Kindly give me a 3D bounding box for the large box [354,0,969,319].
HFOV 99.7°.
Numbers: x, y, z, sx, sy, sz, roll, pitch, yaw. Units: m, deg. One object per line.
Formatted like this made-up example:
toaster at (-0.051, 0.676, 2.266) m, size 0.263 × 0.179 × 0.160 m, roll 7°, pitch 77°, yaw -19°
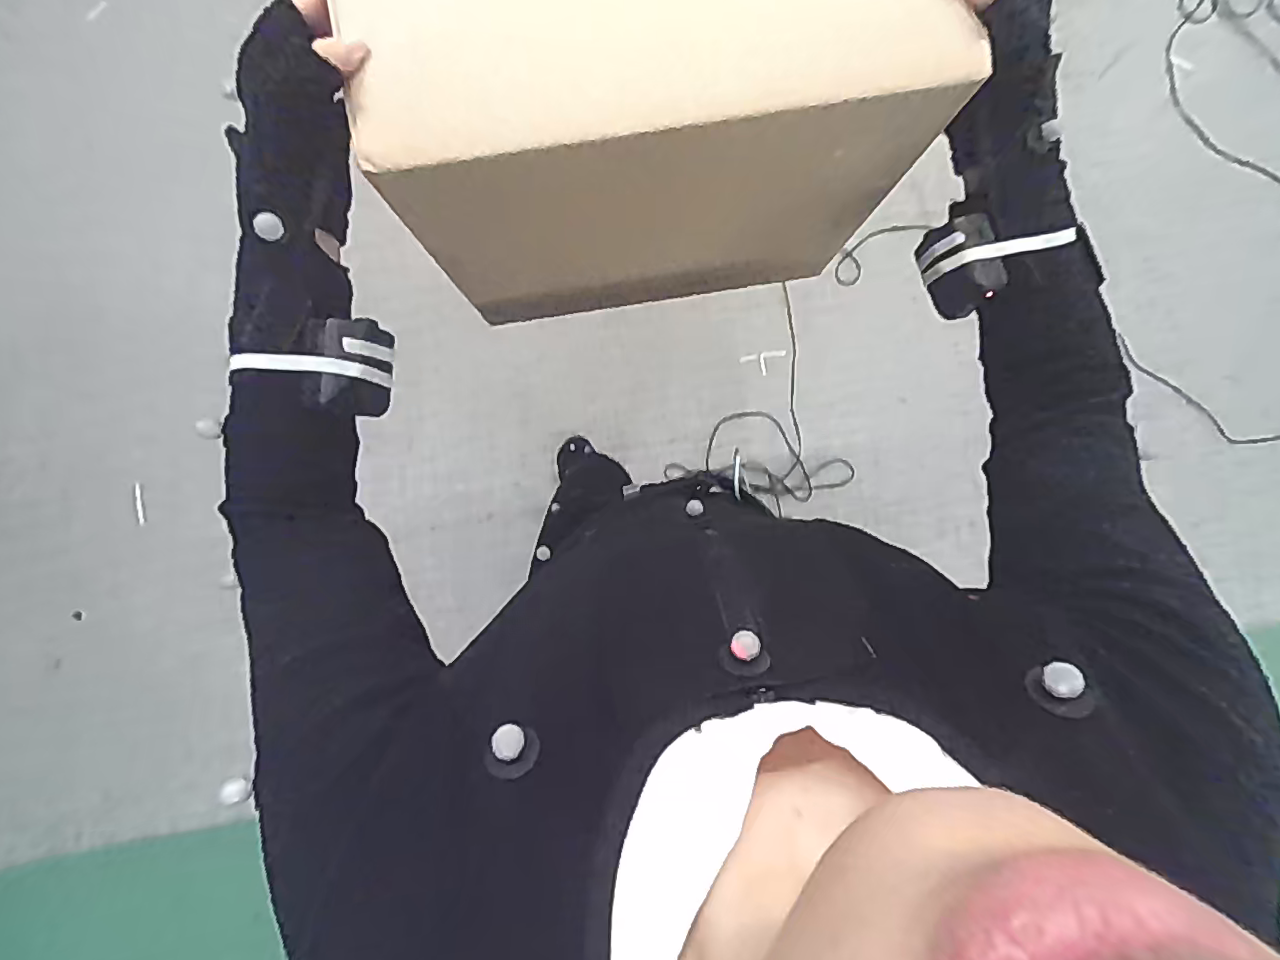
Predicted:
large box at (-0.005, -0.378, 0.508) m, size 0.408 × 0.320 × 0.320 m, roll -10°, pitch 89°, yaw -2°
